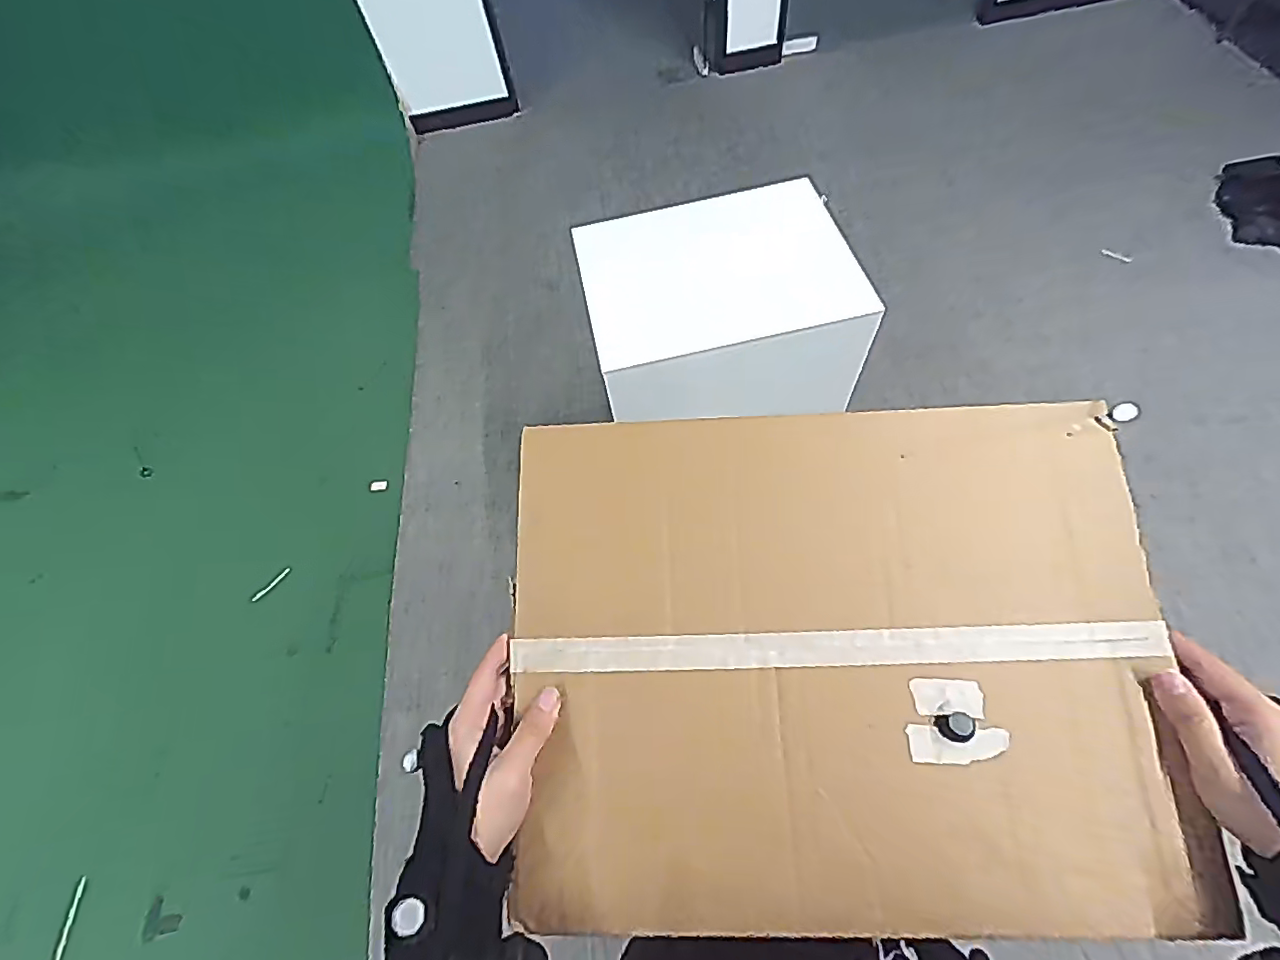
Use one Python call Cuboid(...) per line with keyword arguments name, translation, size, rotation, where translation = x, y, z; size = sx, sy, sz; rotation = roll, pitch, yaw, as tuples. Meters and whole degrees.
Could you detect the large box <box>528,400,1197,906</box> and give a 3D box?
Cuboid(name="large box", translation=(0.128, 0.137, 0.502), size=(0.408, 0.320, 0.320), rotation=(-2, 76, 2))
